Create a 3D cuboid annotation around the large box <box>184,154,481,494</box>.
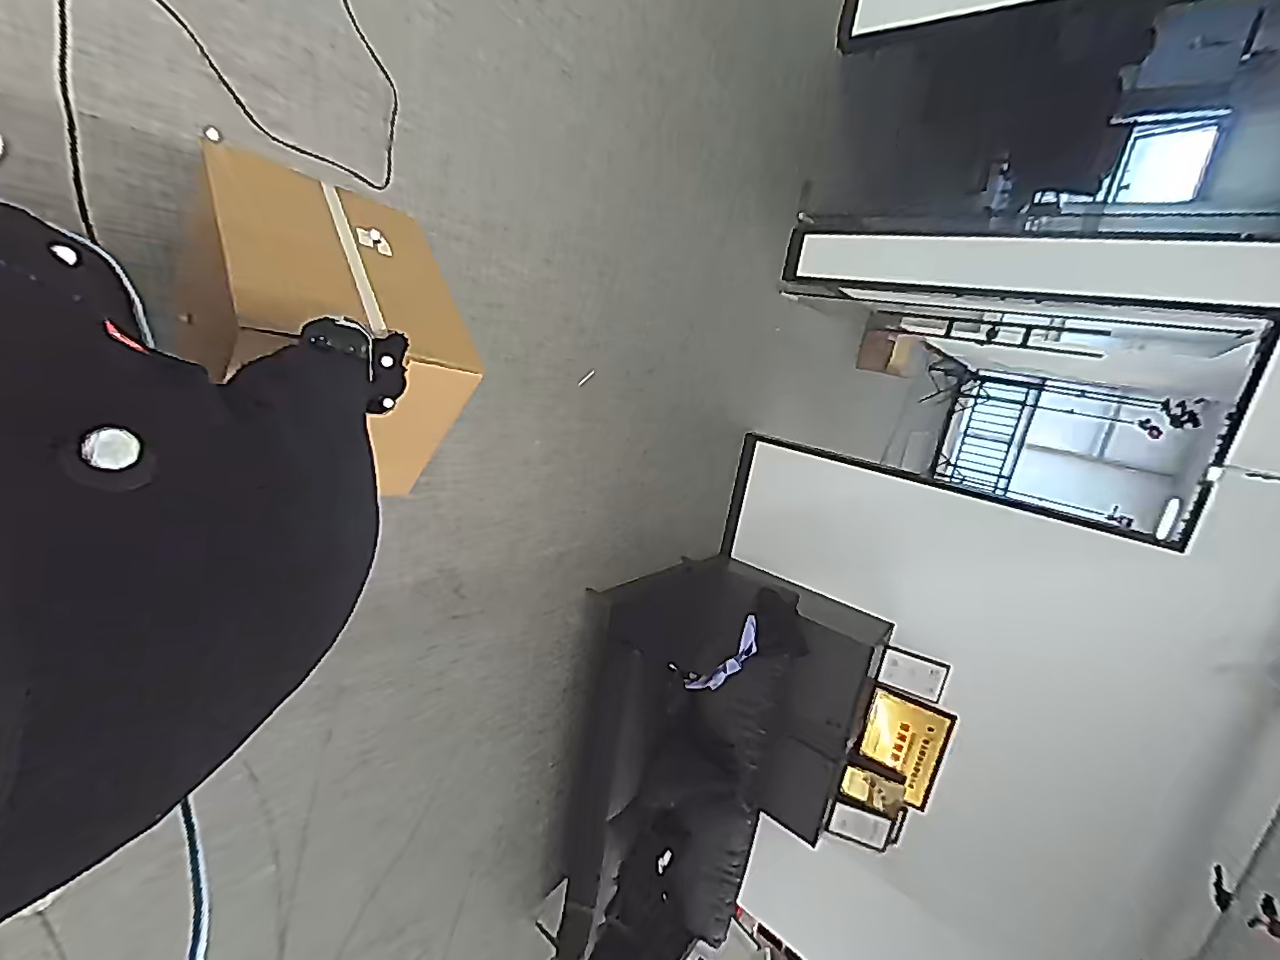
[{"bbox_3d":[-0.520,-0.224,0.887,0.320,0.408,0.320,2,140,-47],"label":"large box"}]
